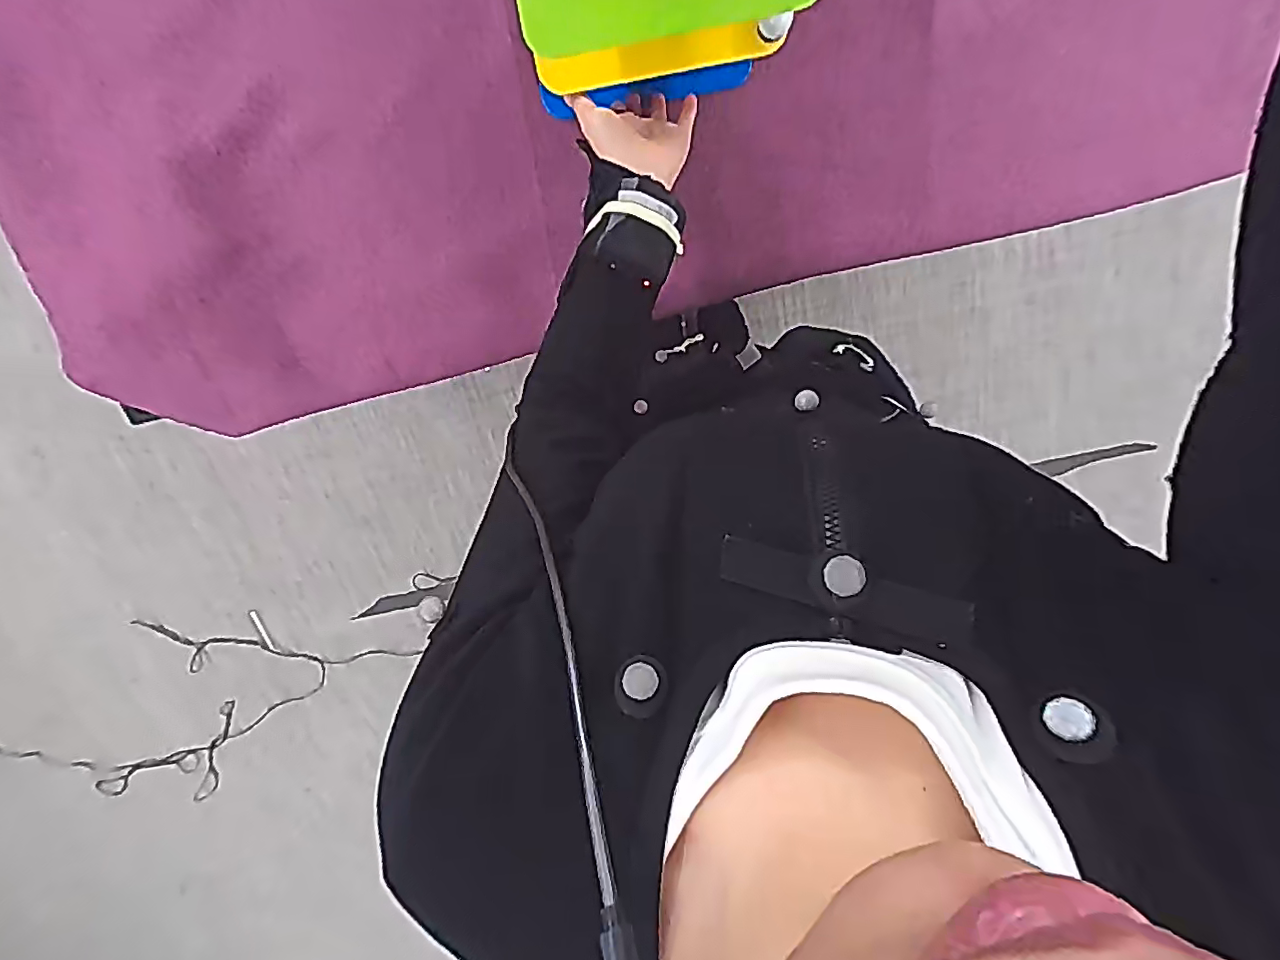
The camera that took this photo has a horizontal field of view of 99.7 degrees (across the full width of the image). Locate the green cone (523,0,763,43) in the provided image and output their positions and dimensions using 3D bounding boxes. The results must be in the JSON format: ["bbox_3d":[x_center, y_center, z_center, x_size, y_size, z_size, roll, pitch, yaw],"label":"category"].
[{"bbox_3d":[0.005,-0.346,0.153,0.200,0.368,0.202,-9,104,4],"label":"green cone"}]
